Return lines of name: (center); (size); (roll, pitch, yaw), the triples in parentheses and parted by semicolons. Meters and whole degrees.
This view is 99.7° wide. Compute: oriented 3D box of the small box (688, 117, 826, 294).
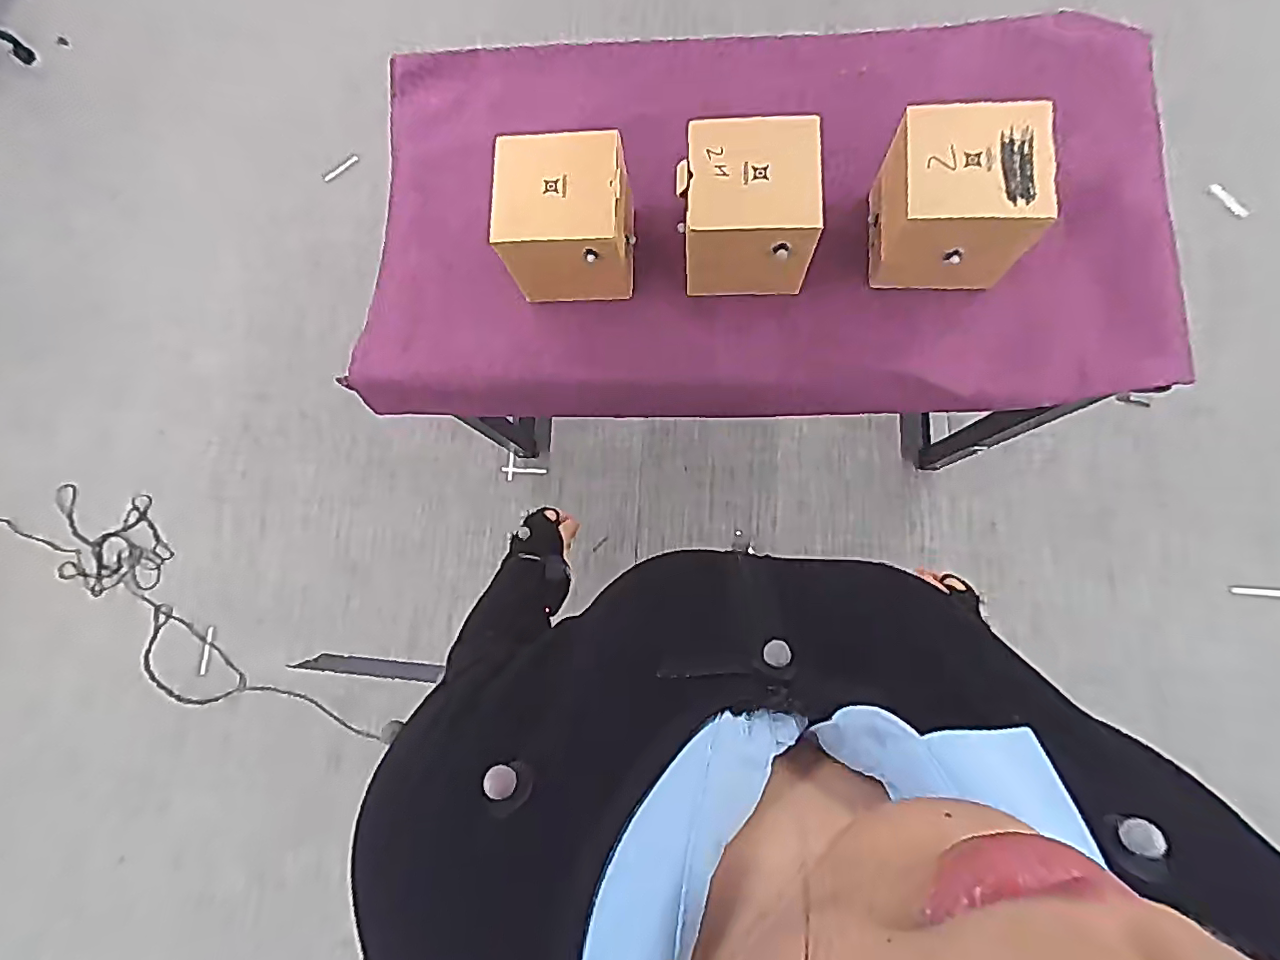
small box: (0.160, -0.386, 0.784); (0.179, 0.176, 0.168); (1, 80, 6)

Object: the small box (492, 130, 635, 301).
small box: (-0.105, -0.385, 0.813); (0.179, 0.176, 0.168); (0, 80, 5)
